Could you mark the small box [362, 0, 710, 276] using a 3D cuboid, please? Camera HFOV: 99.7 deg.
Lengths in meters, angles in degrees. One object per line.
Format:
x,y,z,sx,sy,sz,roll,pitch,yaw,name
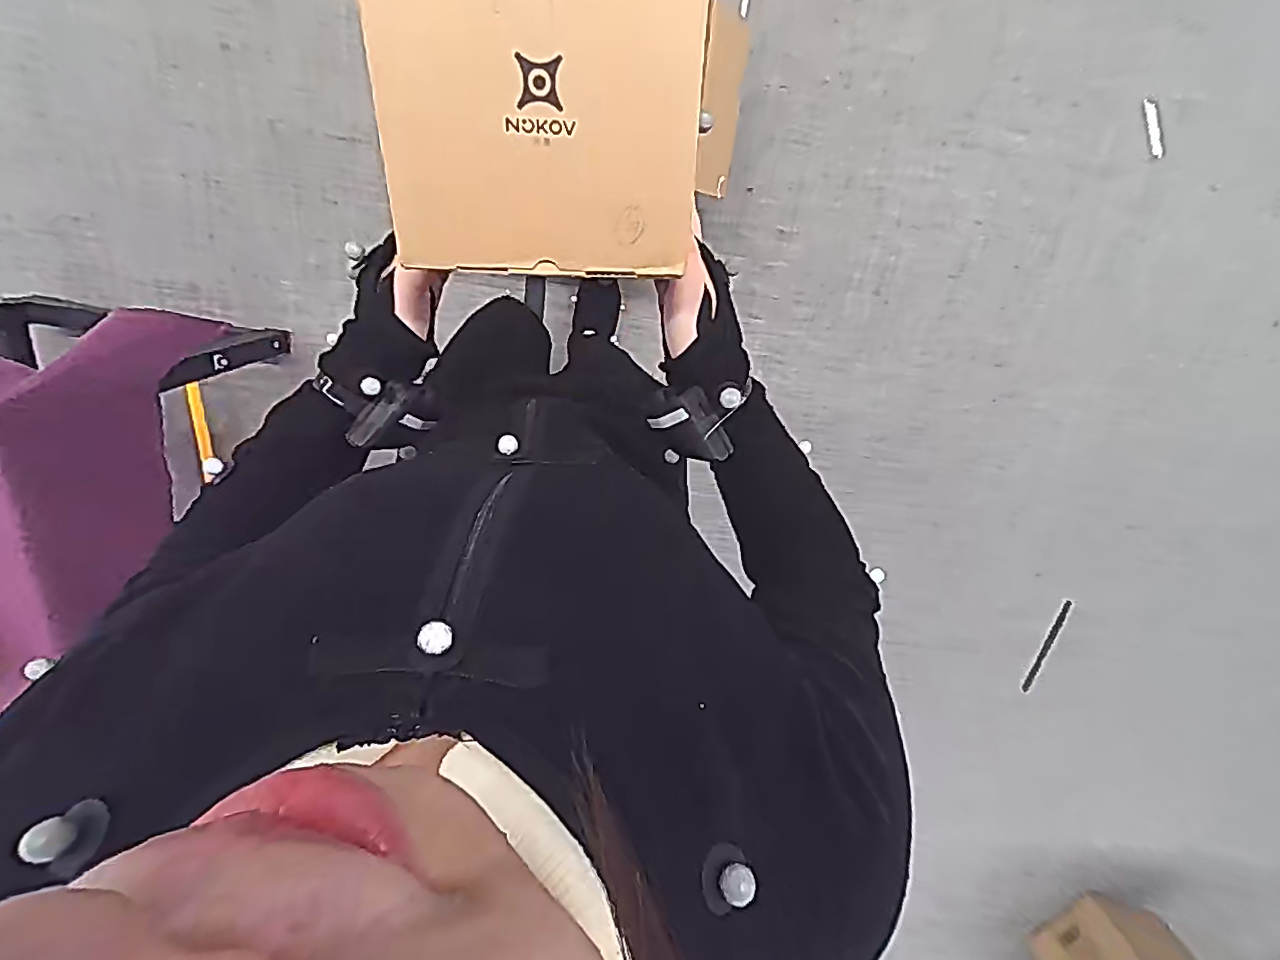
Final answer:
-0.055,-0.237,0.341,0.168,0.176,0.179,0,119,-6,small box
